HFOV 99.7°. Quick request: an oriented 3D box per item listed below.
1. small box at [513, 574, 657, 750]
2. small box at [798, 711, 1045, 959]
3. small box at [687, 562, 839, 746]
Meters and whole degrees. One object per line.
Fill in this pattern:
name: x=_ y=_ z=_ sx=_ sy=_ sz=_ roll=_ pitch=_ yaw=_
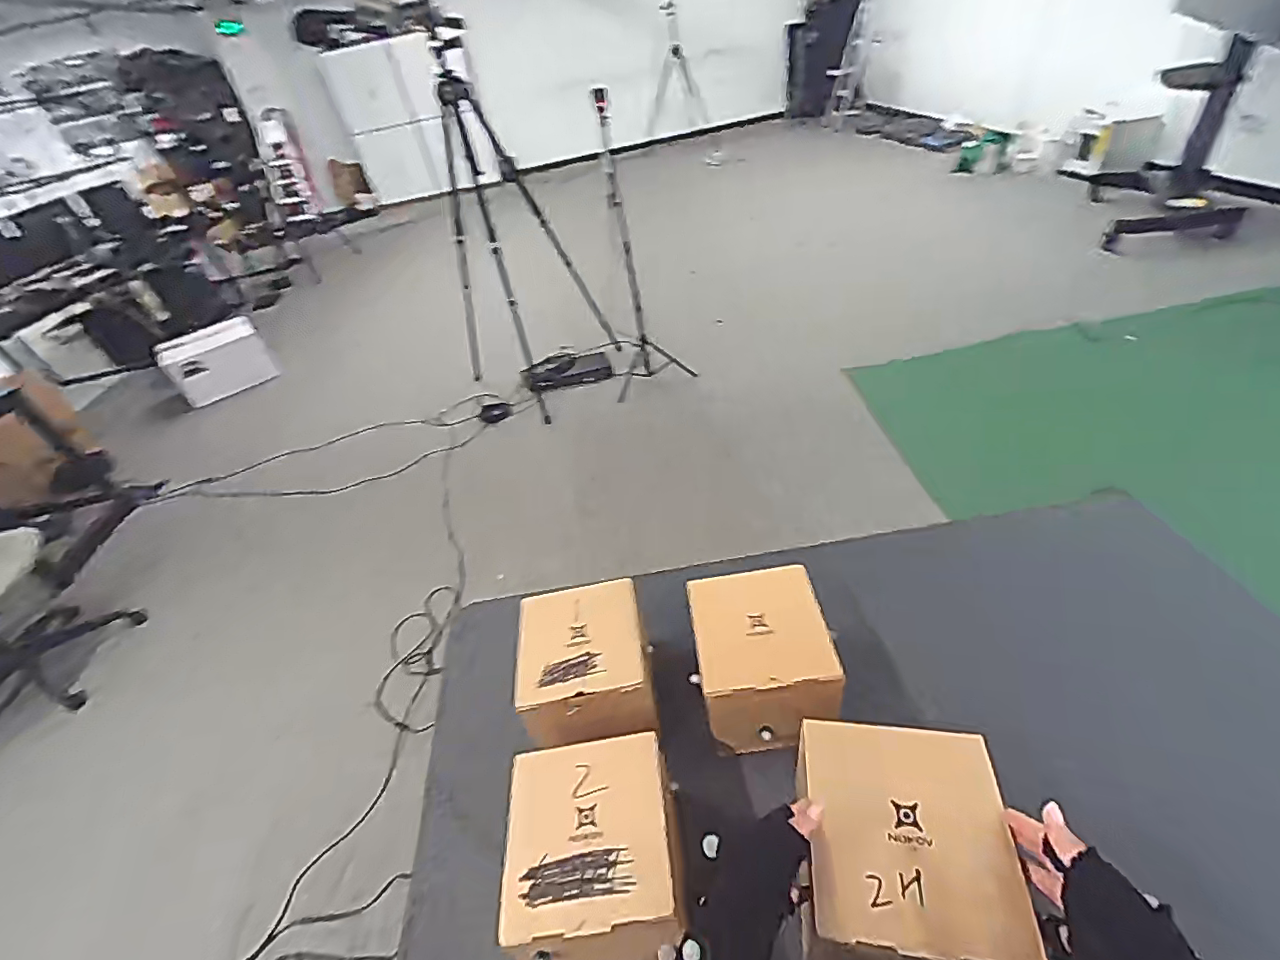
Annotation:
small box: x=-0.075 y=0.269 z=0.785 sx=0.168 sy=0.176 sz=0.179 roll=-11 pitch=40 yaw=1
small box: x=0.244 y=0.353 z=0.524 sx=0.168 sy=0.176 sz=0.179 roll=1 pitch=44 yaw=14
small box: x=0.163 y=0.243 z=0.758 sx=0.168 sy=0.176 sz=0.179 roll=-9 pitch=41 yaw=3
